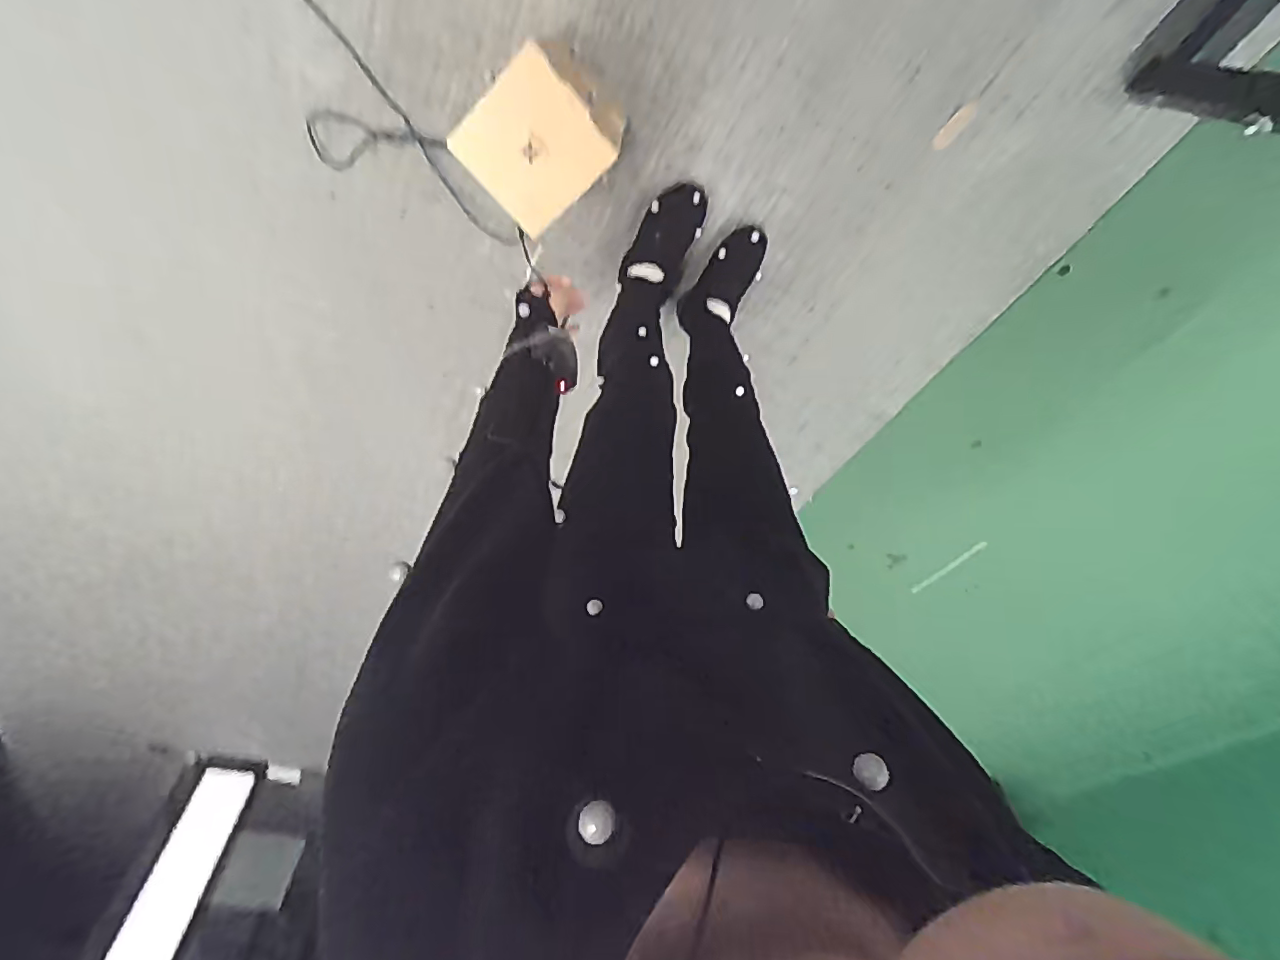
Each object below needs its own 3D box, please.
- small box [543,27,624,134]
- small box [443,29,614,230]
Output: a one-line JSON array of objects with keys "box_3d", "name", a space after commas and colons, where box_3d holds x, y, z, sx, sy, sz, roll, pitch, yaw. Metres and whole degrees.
[{"box_3d": [-0.145, -0.619, 0.915, 0.168, 0.176, 0.179, 36, 123, -28], "name": "small box"}, {"box_3d": [-0.150, -0.512, 0.794, 0.179, 0.176, 0.168, -33, 124, 25], "name": "small box"}]
